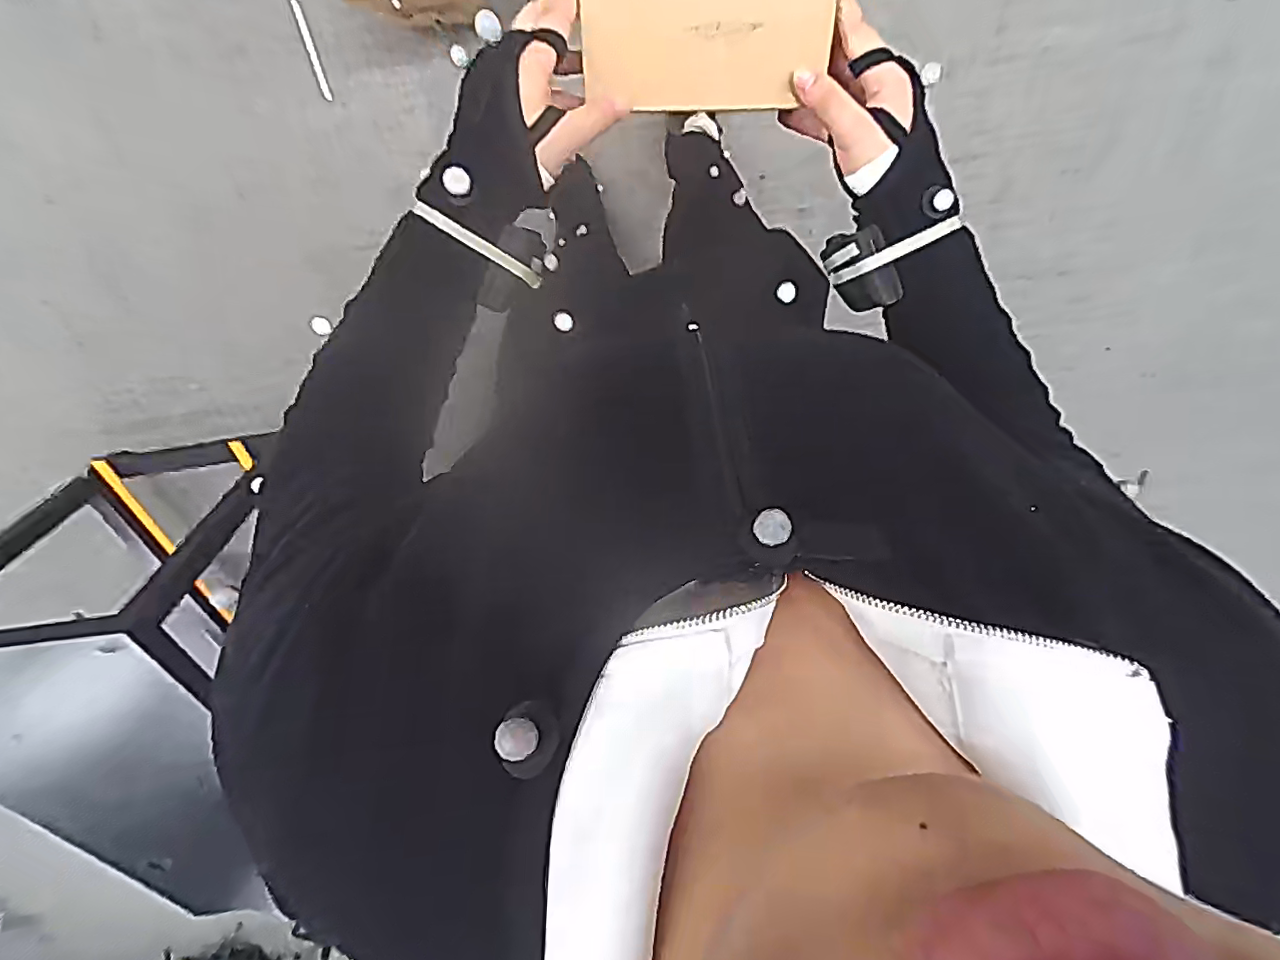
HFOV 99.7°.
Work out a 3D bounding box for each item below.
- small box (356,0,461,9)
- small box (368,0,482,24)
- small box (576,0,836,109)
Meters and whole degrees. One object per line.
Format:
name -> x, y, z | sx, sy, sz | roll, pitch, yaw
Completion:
small box -> -0.362, -0.799, 0.775 | 0.179, 0.176, 0.168 | -6, 126, -2
small box -> -0.376, -0.890, 0.914 | 0.168, 0.176, 0.179 | -5, 127, -1
small box -> 0.040, -0.373, 0.385 | 0.168, 0.176, 0.179 | 0, 125, 0
